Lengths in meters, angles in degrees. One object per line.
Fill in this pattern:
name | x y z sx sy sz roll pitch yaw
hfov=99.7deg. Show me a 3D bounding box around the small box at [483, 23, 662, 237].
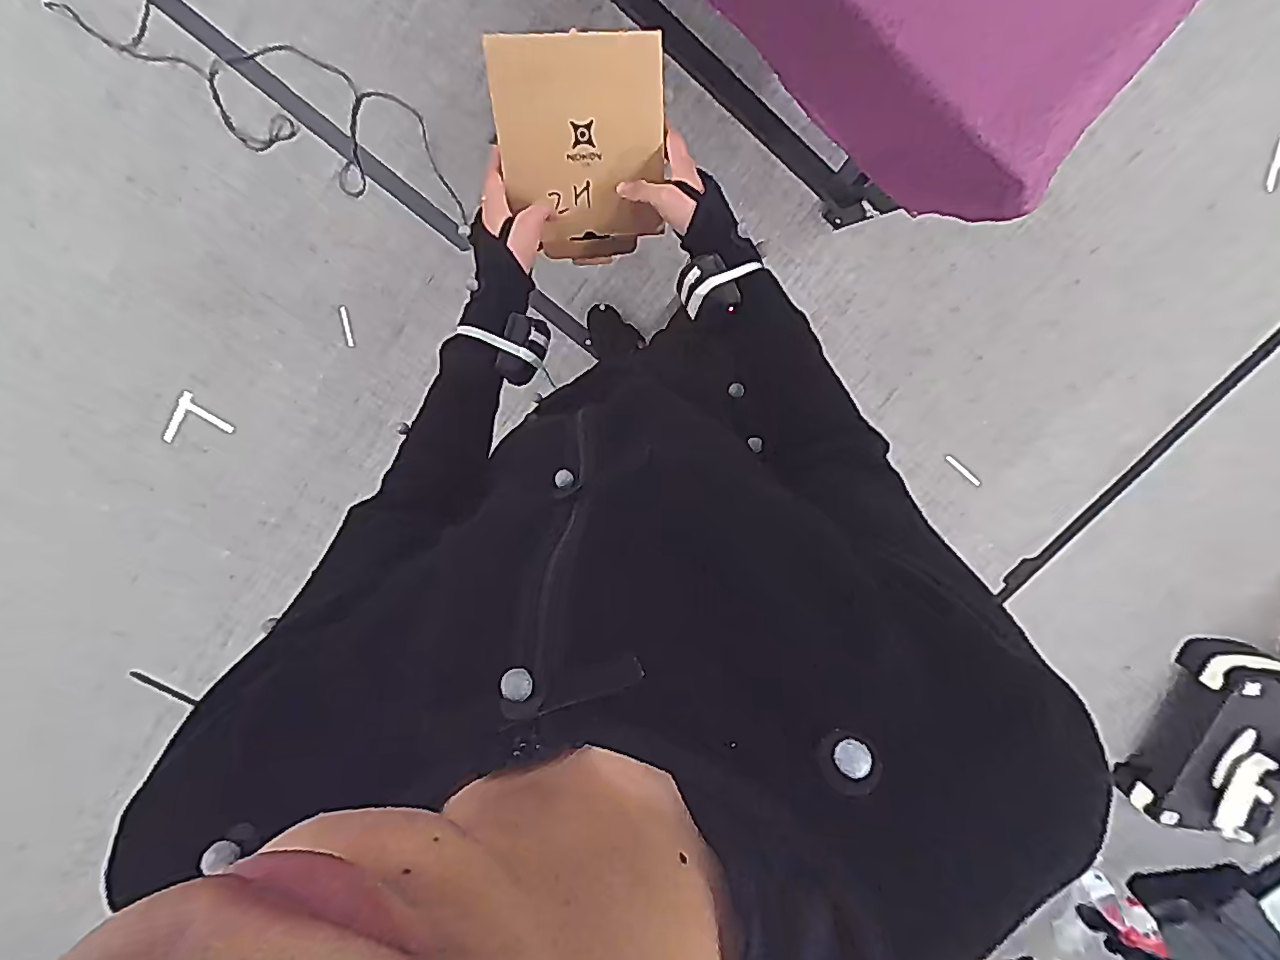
small box | -0.072 -0.377 0.599 0.168 0.176 0.179 -6 122 -6
